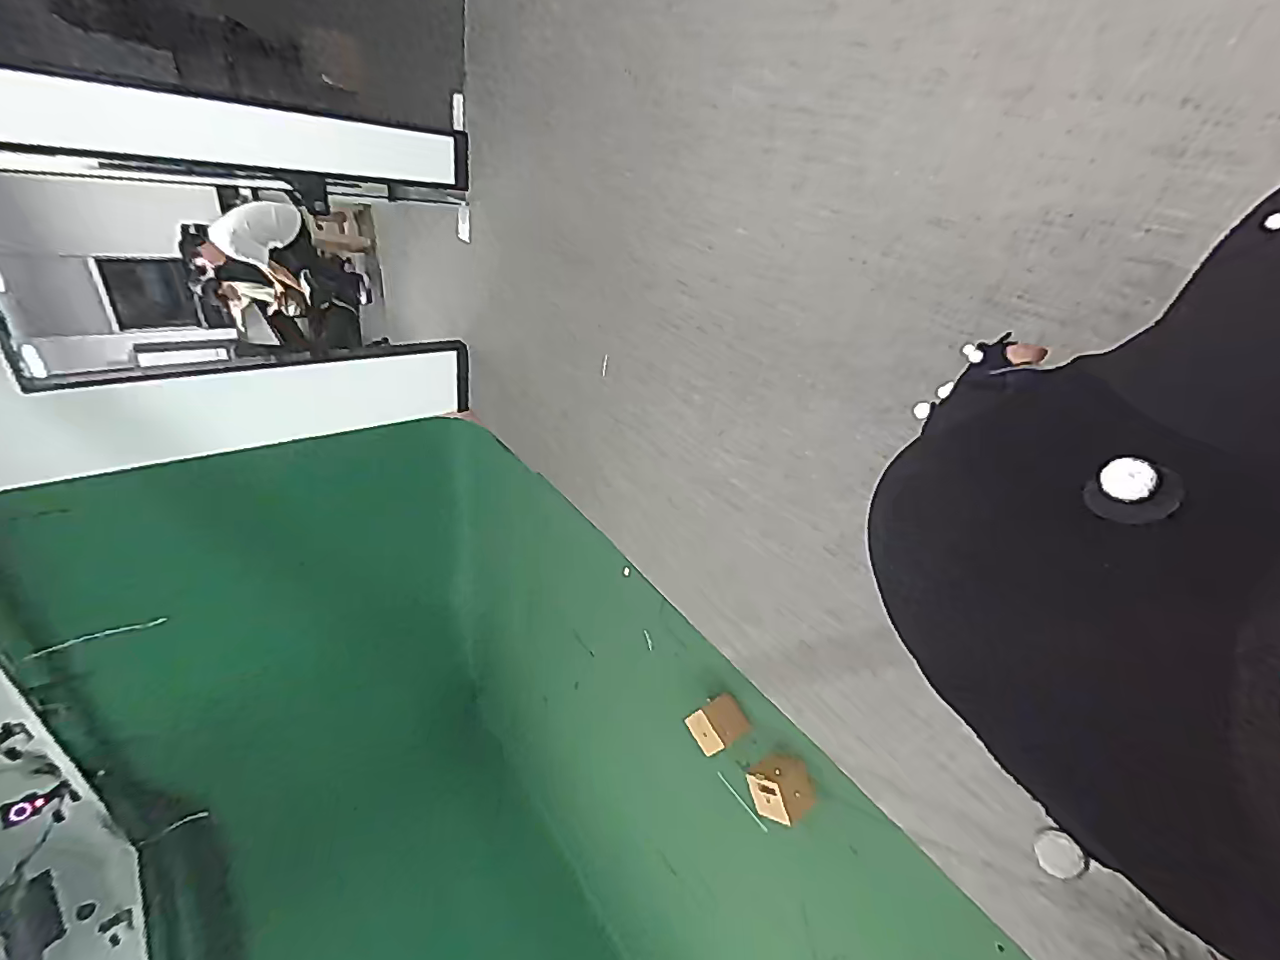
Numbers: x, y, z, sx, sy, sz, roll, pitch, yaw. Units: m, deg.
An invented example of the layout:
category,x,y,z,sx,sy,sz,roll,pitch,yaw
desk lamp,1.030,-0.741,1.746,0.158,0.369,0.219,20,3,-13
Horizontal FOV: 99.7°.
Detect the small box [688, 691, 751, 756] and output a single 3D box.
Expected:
category,x,y,z,sx,sy,sz,roll,pitch,yaw
small box,0.346,1.053,2.344,0.179,0.176,0.168,55,139,22
